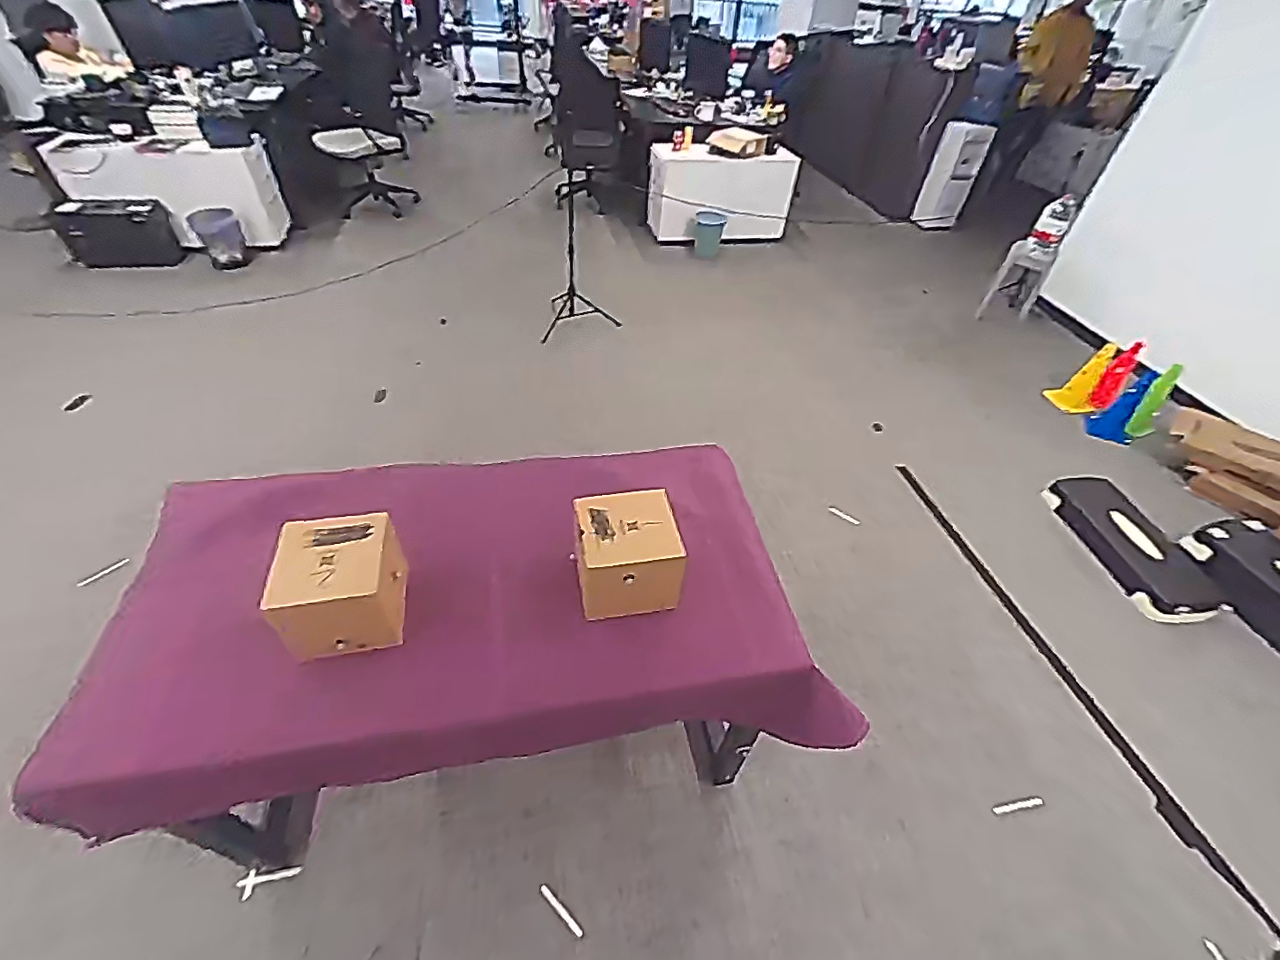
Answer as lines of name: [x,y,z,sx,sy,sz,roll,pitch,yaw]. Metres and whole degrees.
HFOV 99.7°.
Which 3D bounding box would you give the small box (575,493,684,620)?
small box: [-0.026,0.147,1.024,0.179,0.176,0.168,-5,45,-11]
